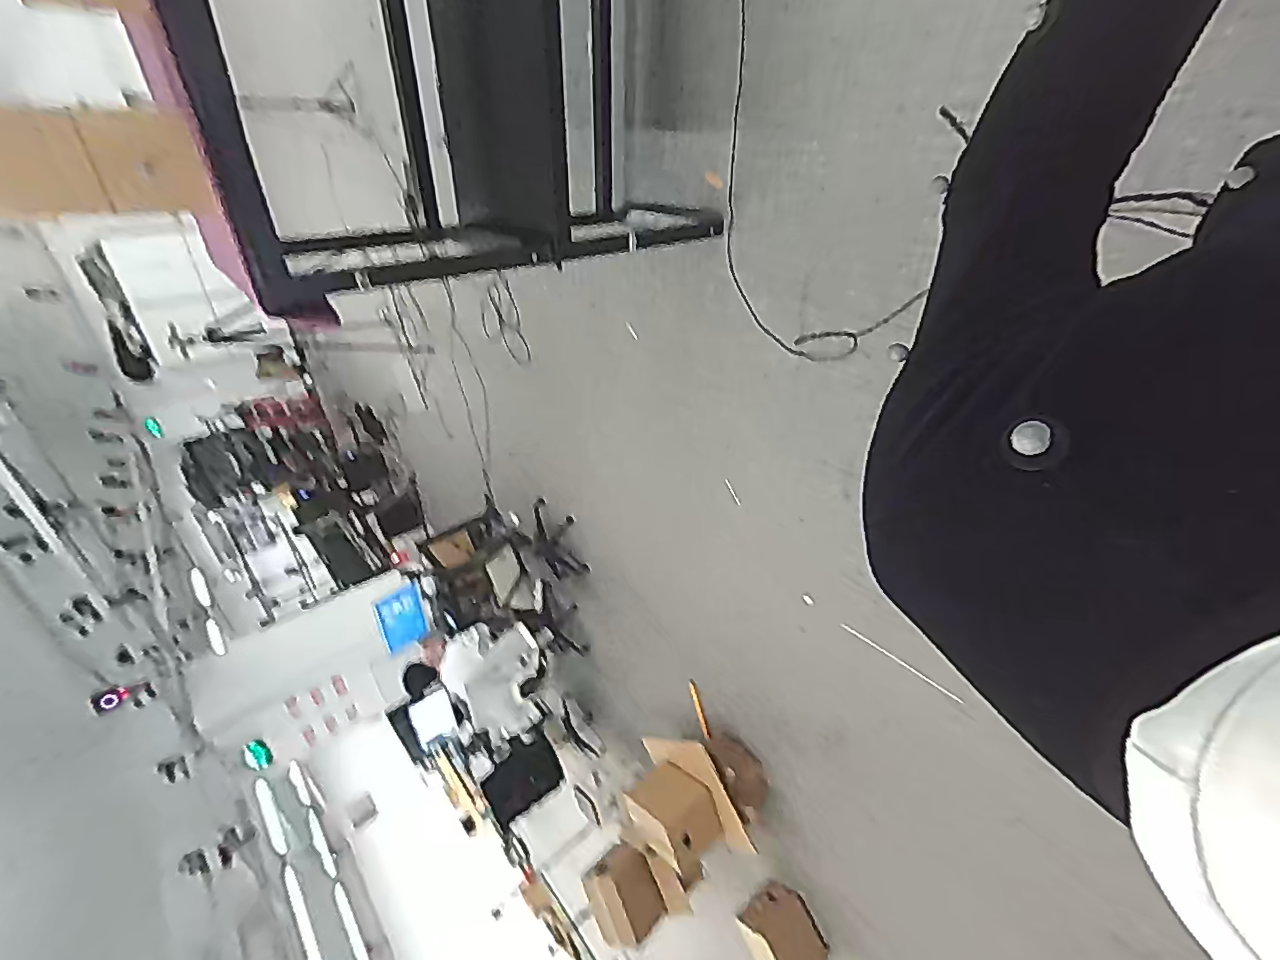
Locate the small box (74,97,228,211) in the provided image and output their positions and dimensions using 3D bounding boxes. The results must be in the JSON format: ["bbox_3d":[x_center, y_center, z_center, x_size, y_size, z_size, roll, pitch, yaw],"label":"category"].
[{"bbox_3d":[-0.931,-0.628,1.043,0.168,0.176,0.179,31,134,41],"label":"small box"}]

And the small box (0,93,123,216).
[{"bbox_3d":[-1.057,-0.574,0.955,0.168,0.176,0.179,31,132,41],"label":"small box"}]

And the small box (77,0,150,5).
[{"bbox_3d":[-0.923,-0.894,0.871,0.168,0.176,0.179,32,134,40],"label":"small box"}]
